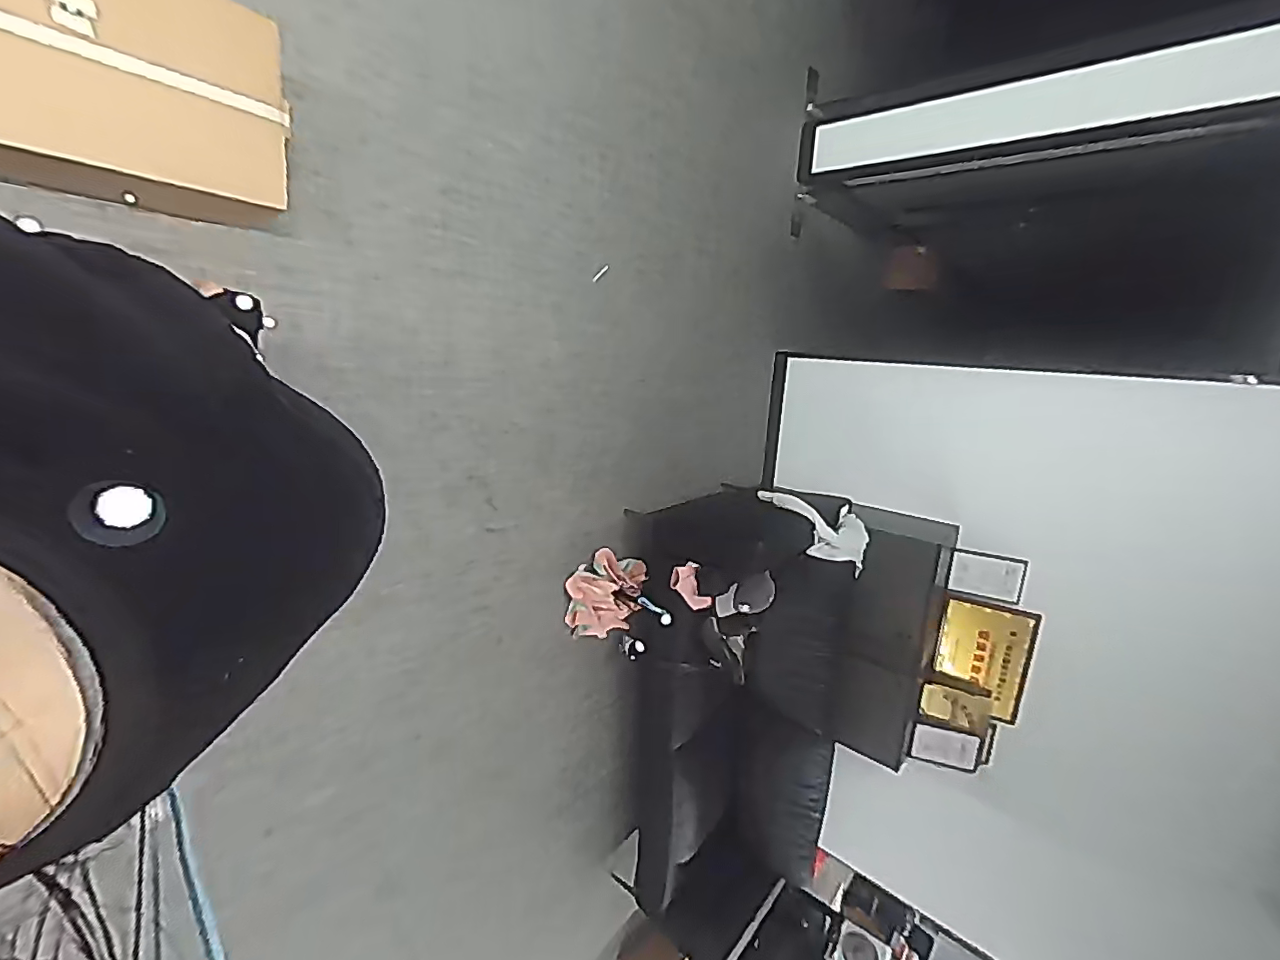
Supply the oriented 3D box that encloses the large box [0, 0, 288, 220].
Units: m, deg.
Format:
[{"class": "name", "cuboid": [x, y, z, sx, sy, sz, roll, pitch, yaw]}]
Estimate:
[{"class": "large box", "cuboid": [-0.897, -0.669, 0.940, 0.408, 0.320, 0.320, -9, 108, -48]}]
